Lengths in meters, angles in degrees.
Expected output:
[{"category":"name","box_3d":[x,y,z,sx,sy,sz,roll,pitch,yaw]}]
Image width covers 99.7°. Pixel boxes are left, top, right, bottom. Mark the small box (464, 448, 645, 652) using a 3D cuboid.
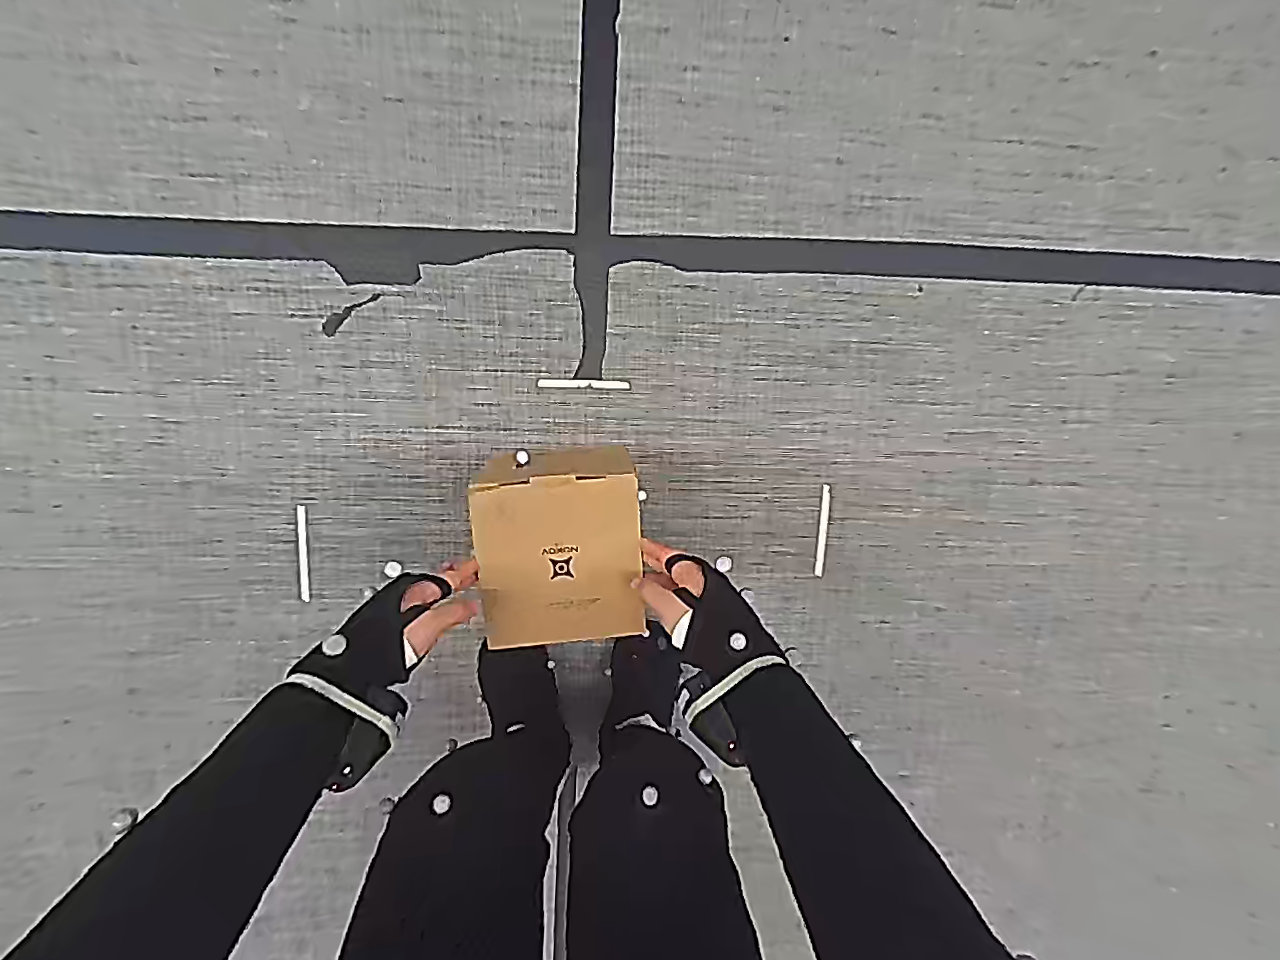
[{"category":"small box","box_3d":[-0.088,0.063,0.602,0.168,0.176,0.179,-4,105,-4]}]
